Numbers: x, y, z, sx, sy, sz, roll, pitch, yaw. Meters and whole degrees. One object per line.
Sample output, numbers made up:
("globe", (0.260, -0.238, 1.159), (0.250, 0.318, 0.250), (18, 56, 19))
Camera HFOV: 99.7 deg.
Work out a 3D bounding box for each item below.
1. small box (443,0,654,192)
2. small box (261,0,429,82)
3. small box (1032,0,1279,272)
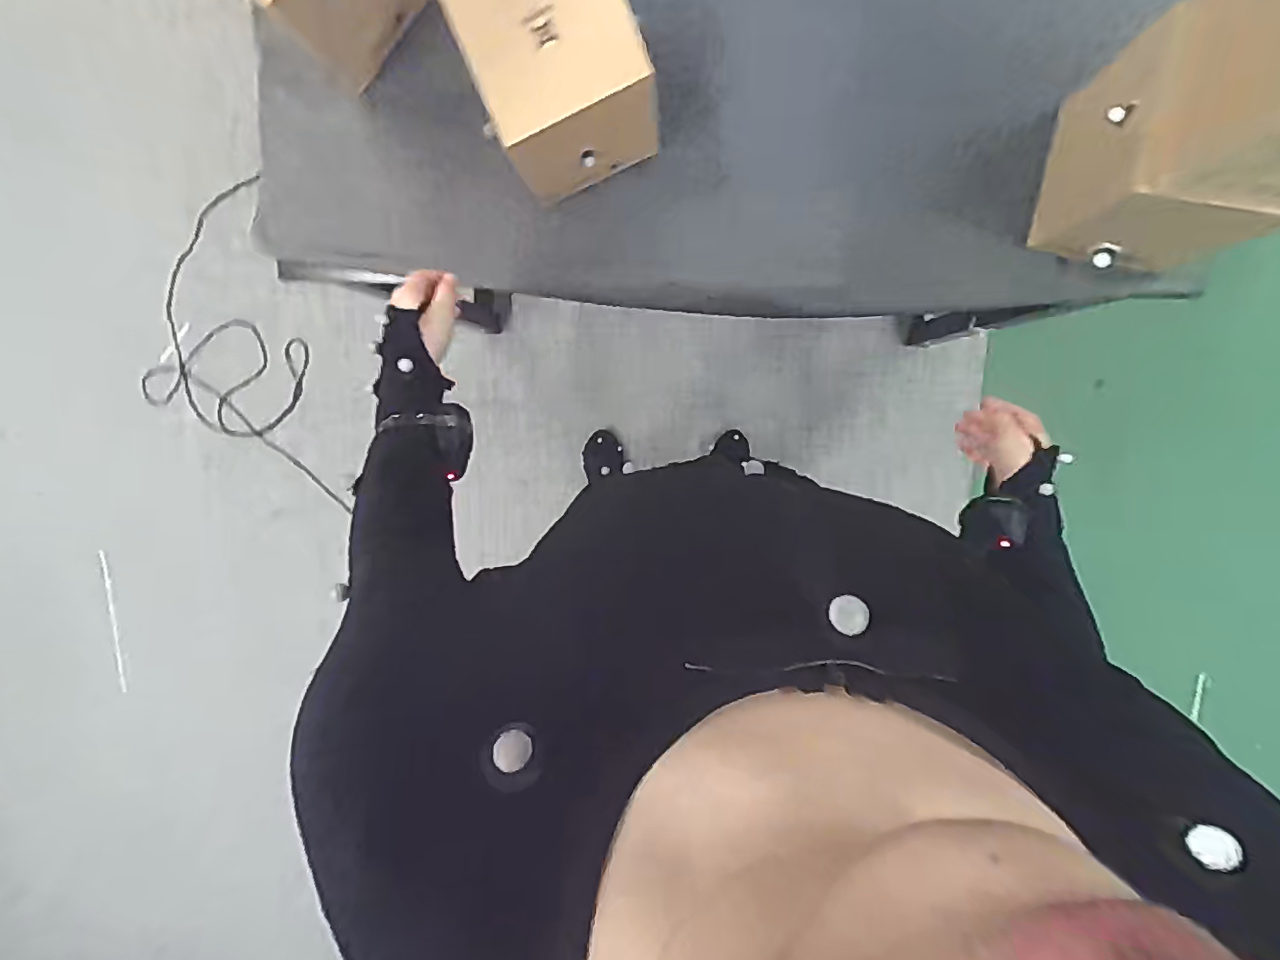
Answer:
("small box", (-0.090, -0.457, 0.610), (0.168, 0.176, 0.179), (-22, 95, 6))
("small box", (-0.379, -0.612, 0.611), (0.179, 0.176, 0.168), (43, 99, -3))
("small box", (0.563, -0.344, 0.573), (0.168, 0.176, 0.179), (12, 96, 4))
